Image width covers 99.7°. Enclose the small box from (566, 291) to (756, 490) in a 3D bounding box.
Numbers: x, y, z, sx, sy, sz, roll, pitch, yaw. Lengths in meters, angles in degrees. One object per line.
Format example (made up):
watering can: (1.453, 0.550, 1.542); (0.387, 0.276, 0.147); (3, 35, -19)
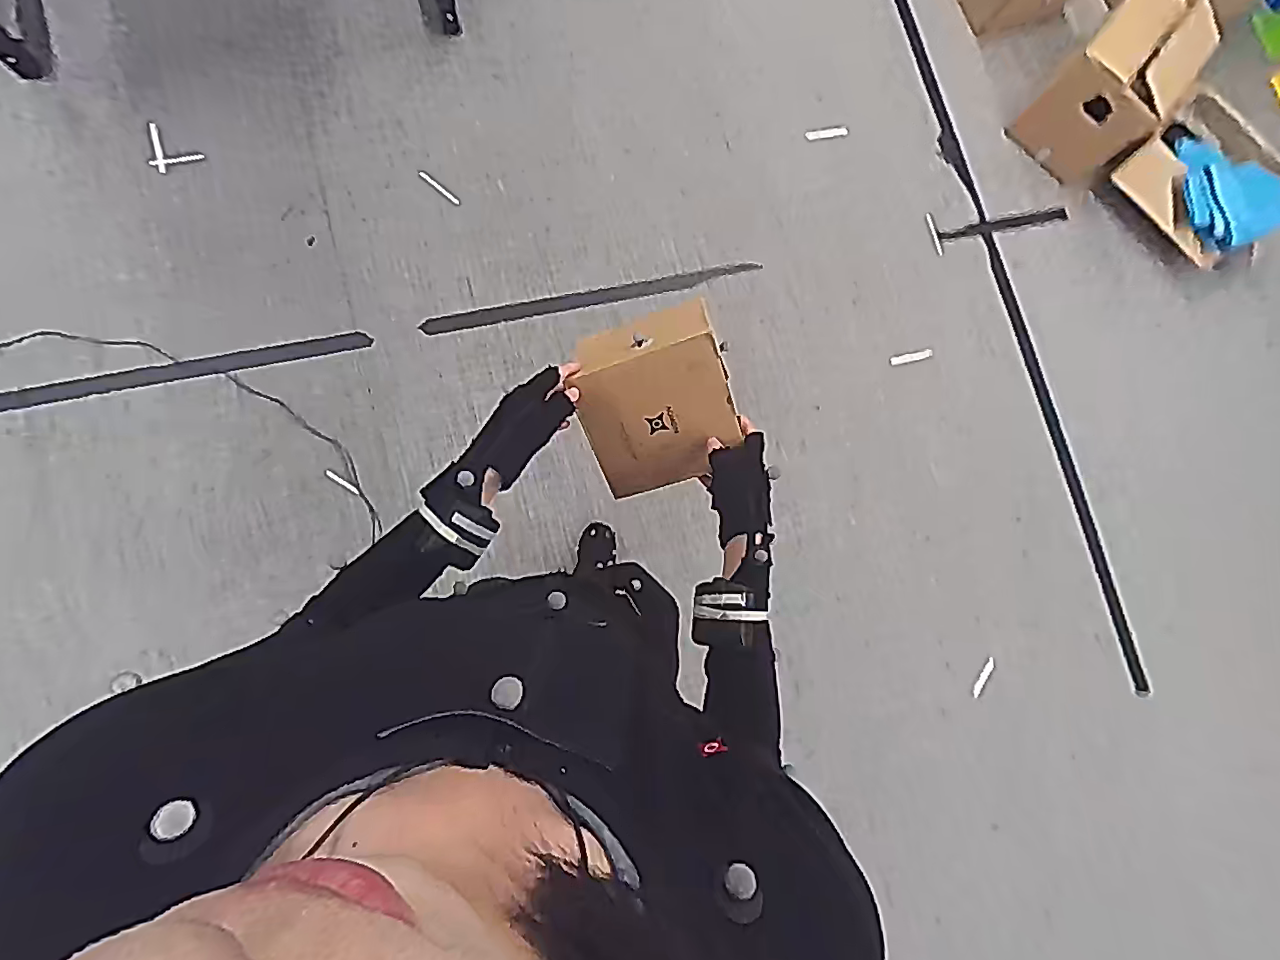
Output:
small box: (0.028, -0.118, 0.673); (0.179, 0.176, 0.168); (-17, 117, 12)
